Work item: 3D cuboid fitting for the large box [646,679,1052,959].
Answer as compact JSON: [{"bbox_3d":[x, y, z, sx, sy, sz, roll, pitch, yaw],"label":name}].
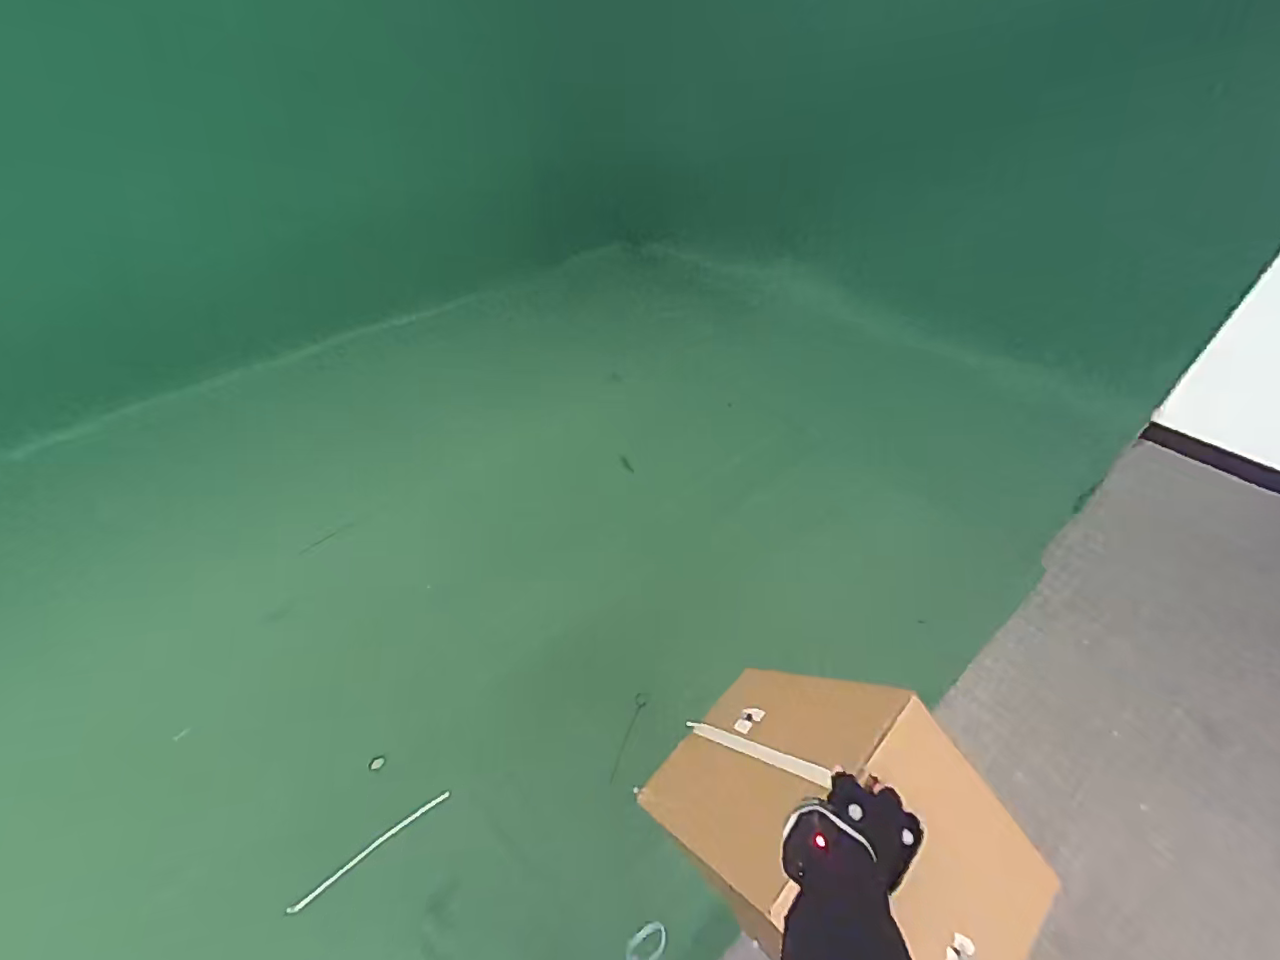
[{"bbox_3d":[0.276,0.537,0.809,0.320,0.408,0.320,-38,90,-25],"label":"large box"}]
